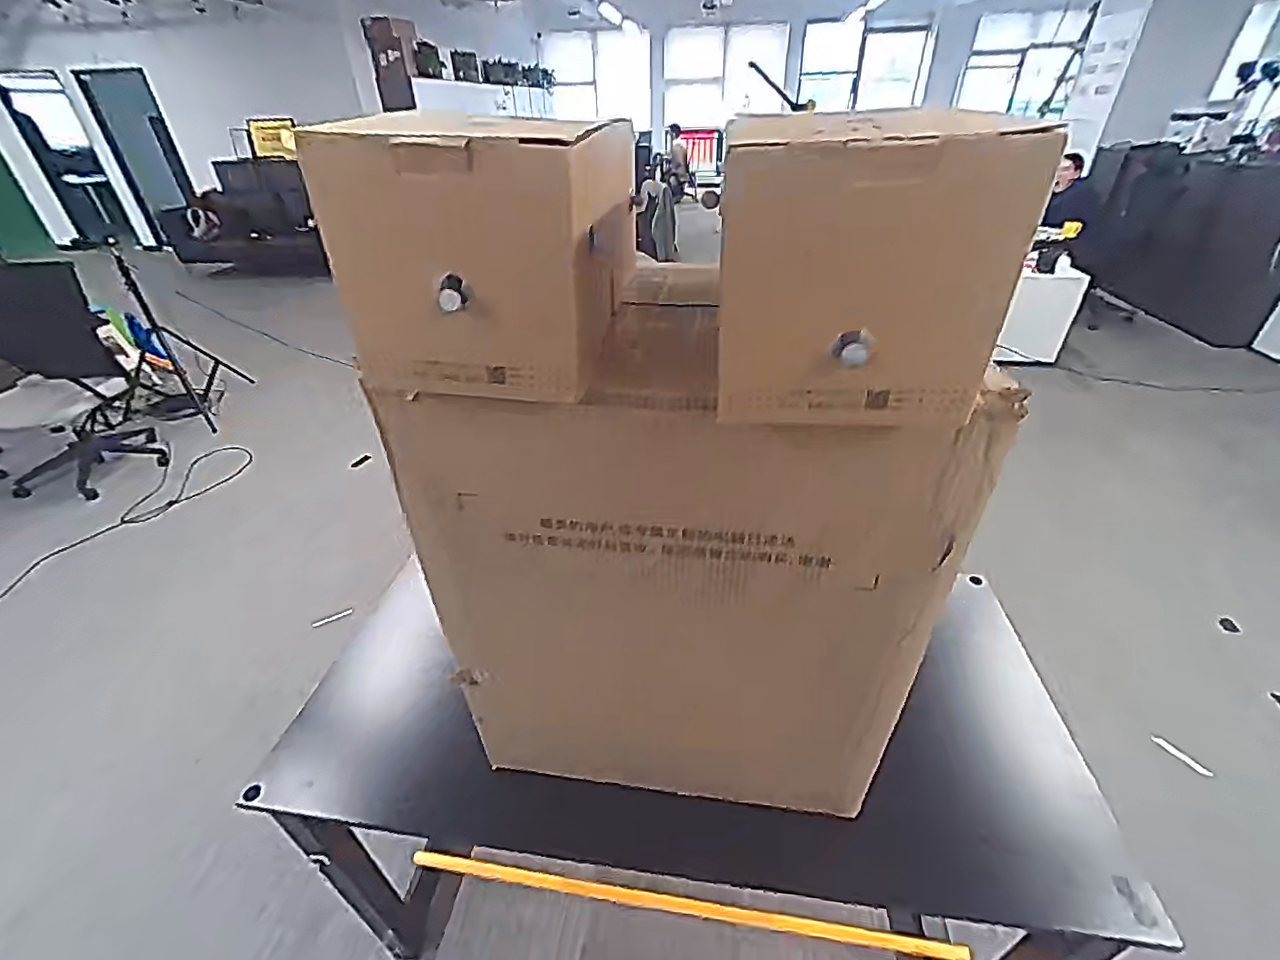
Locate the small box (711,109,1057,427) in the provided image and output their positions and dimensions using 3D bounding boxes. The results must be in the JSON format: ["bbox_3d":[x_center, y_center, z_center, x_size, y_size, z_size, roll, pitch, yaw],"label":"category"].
[{"bbox_3d":[0.137,-0.155,0.385,0.168,0.176,0.179,1,37,8],"label":"small box"}]

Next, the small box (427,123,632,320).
[{"bbox_3d":[-0.100,-0.283,0.584,0.168,0.176,0.179,2,34,6],"label":"small box"}]
